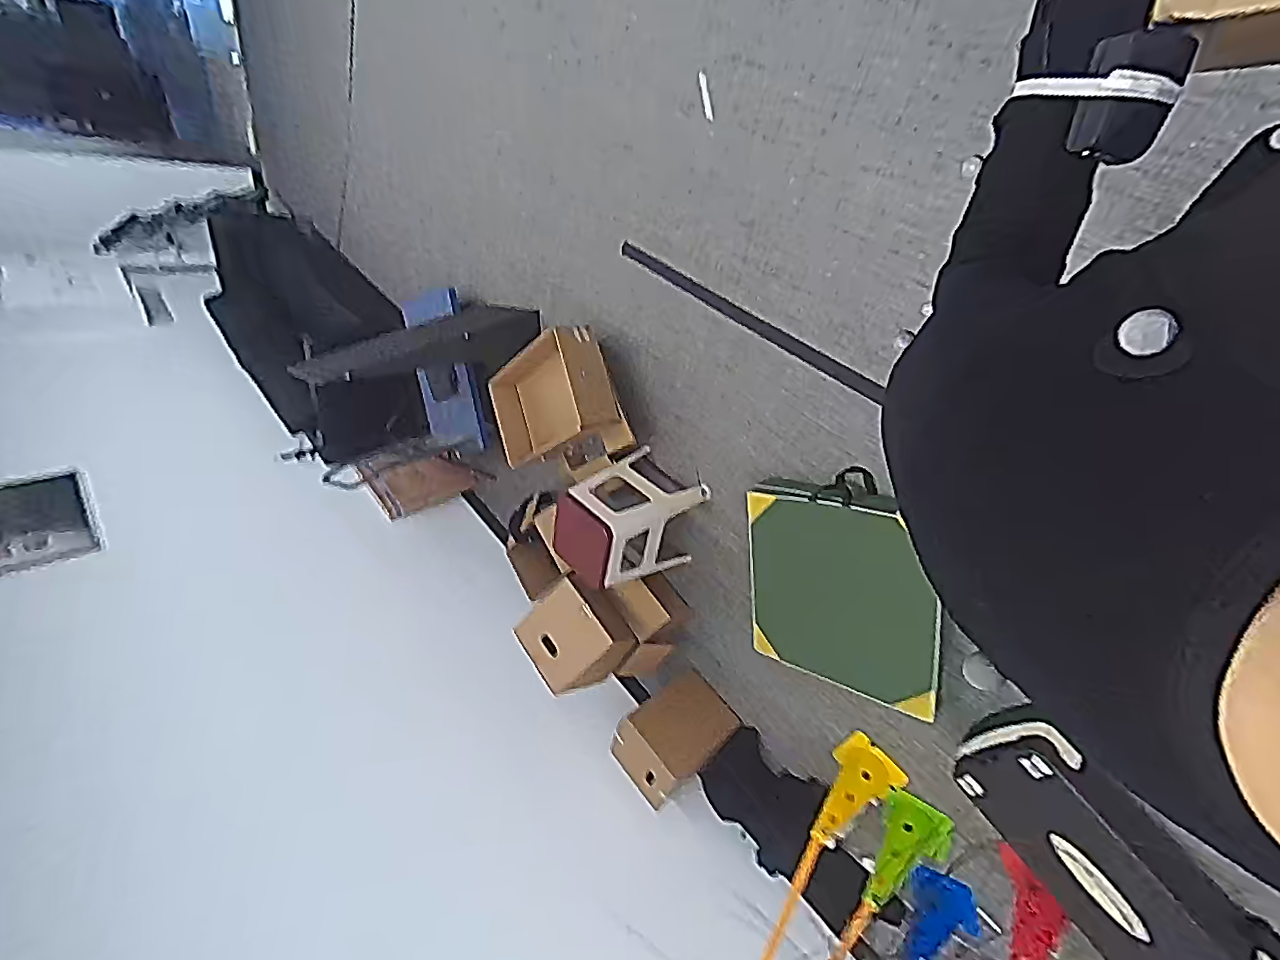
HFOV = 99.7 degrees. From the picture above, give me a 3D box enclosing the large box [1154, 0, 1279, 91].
[{"bbox_3d":[0.557,-0.401,0.241,0.408,0.320,0.320,23,128,38],"label":"large box"}]
